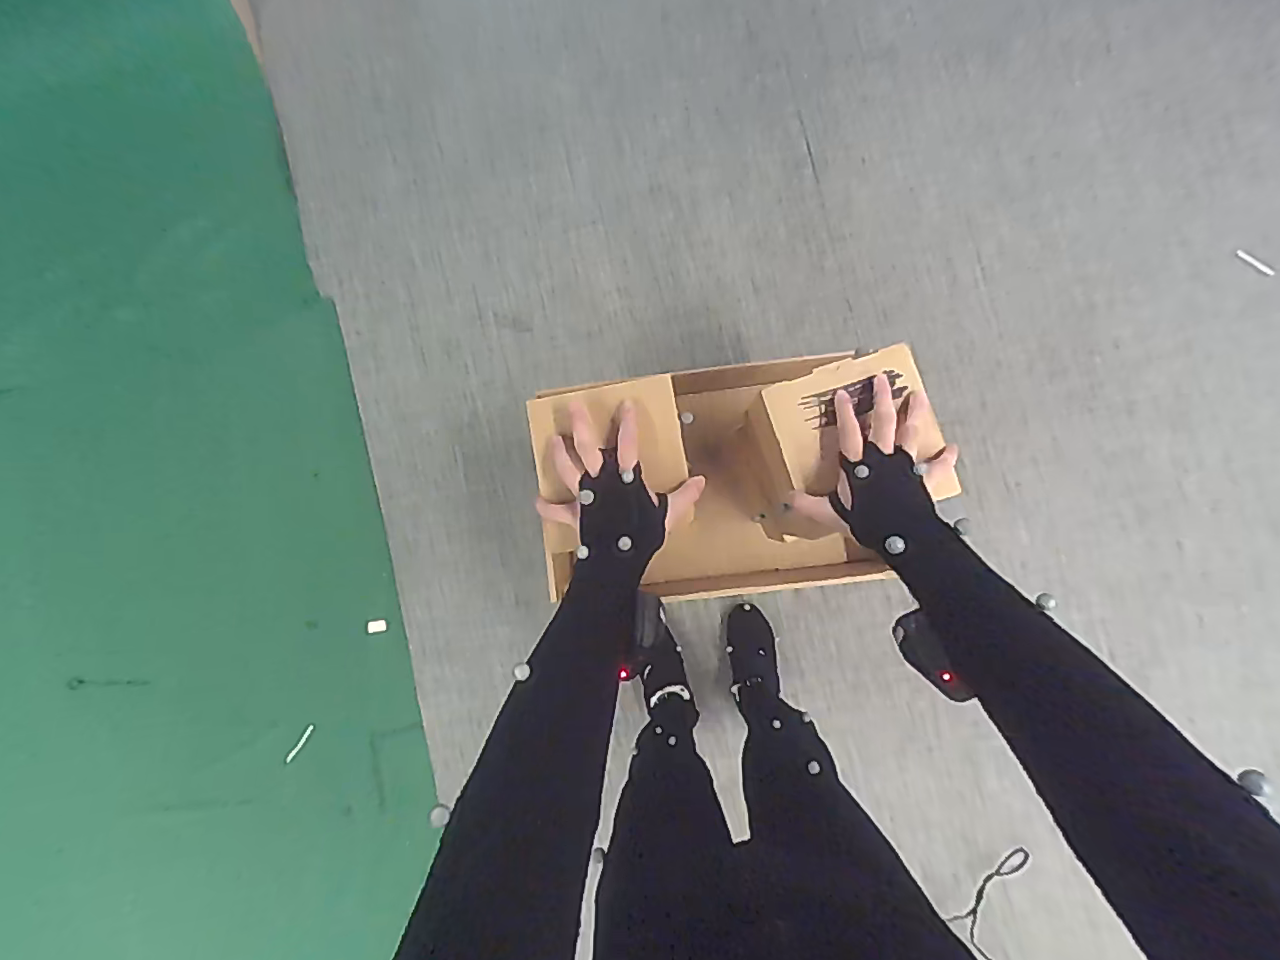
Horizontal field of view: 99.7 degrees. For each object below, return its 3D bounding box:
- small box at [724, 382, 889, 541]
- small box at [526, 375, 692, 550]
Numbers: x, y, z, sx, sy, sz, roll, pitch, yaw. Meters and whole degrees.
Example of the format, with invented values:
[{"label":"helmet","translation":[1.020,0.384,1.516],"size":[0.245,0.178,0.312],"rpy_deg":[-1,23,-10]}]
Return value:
[{"label":"small box","translation":[0.239,-0.022,0.820],"size":[0.168,0.176,0.179],"rpy_deg":[-25,84,3]},{"label":"small box","translation":[-0.032,-0.014,0.676],"size":[0.168,0.176,0.179],"rpy_deg":[-10,86,4]}]
